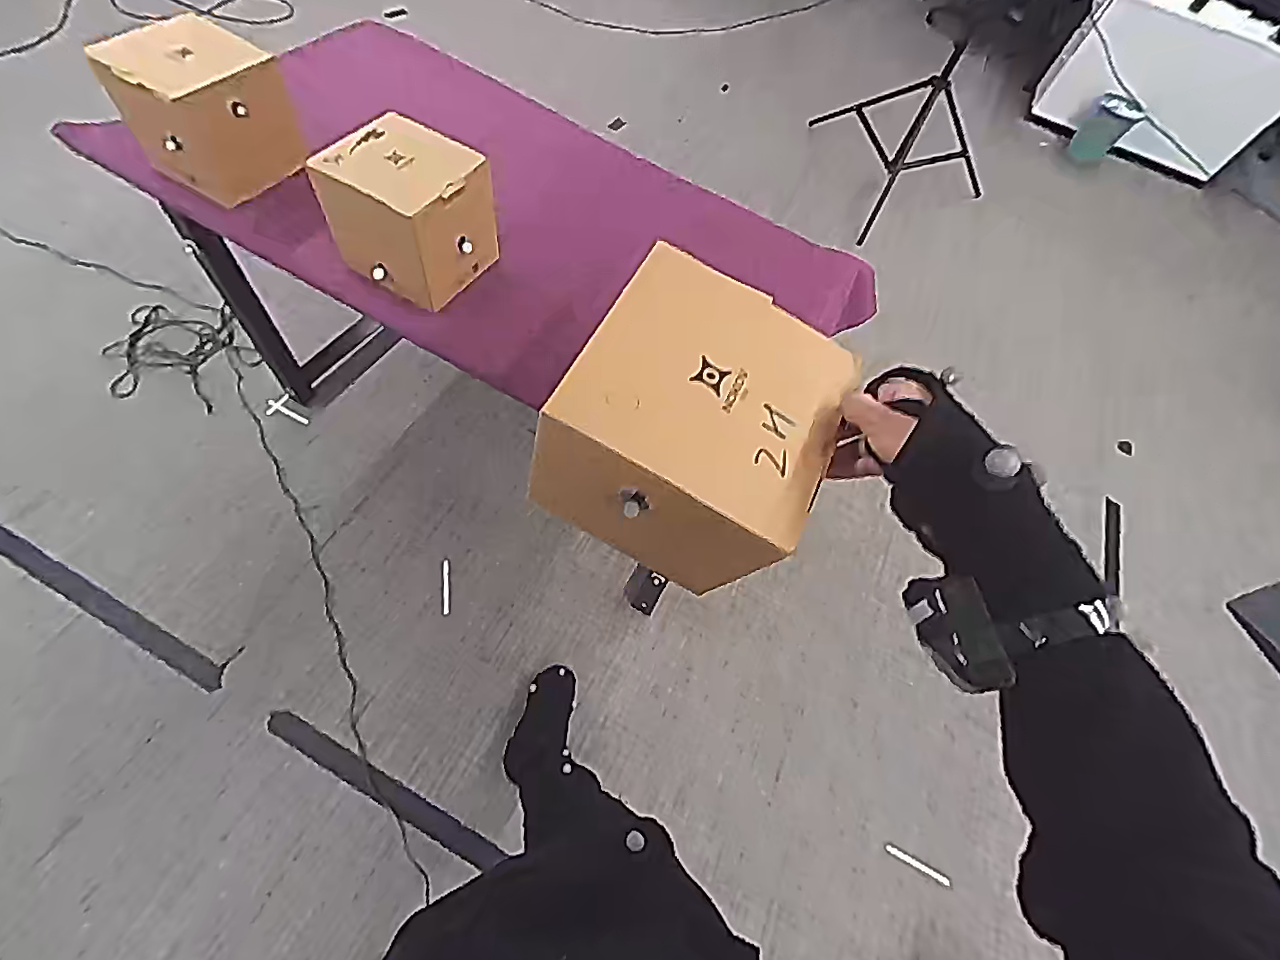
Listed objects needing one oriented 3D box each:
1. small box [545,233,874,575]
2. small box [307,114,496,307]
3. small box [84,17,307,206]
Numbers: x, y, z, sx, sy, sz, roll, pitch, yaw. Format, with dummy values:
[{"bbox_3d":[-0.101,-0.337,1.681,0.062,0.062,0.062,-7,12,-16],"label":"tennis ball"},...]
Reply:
[{"bbox_3d":[0.040,-0.042,0.424,0.179,0.176,0.168,30,66,-3],"label":"small box"},{"bbox_3d":[-0.332,-0.386,0.798,0.179,0.176,0.168,30,61,7],"label":"small box"},{"bbox_3d":[-0.667,-0.565,0.841,0.168,0.176,0.179,30,59,5],"label":"small box"}]
